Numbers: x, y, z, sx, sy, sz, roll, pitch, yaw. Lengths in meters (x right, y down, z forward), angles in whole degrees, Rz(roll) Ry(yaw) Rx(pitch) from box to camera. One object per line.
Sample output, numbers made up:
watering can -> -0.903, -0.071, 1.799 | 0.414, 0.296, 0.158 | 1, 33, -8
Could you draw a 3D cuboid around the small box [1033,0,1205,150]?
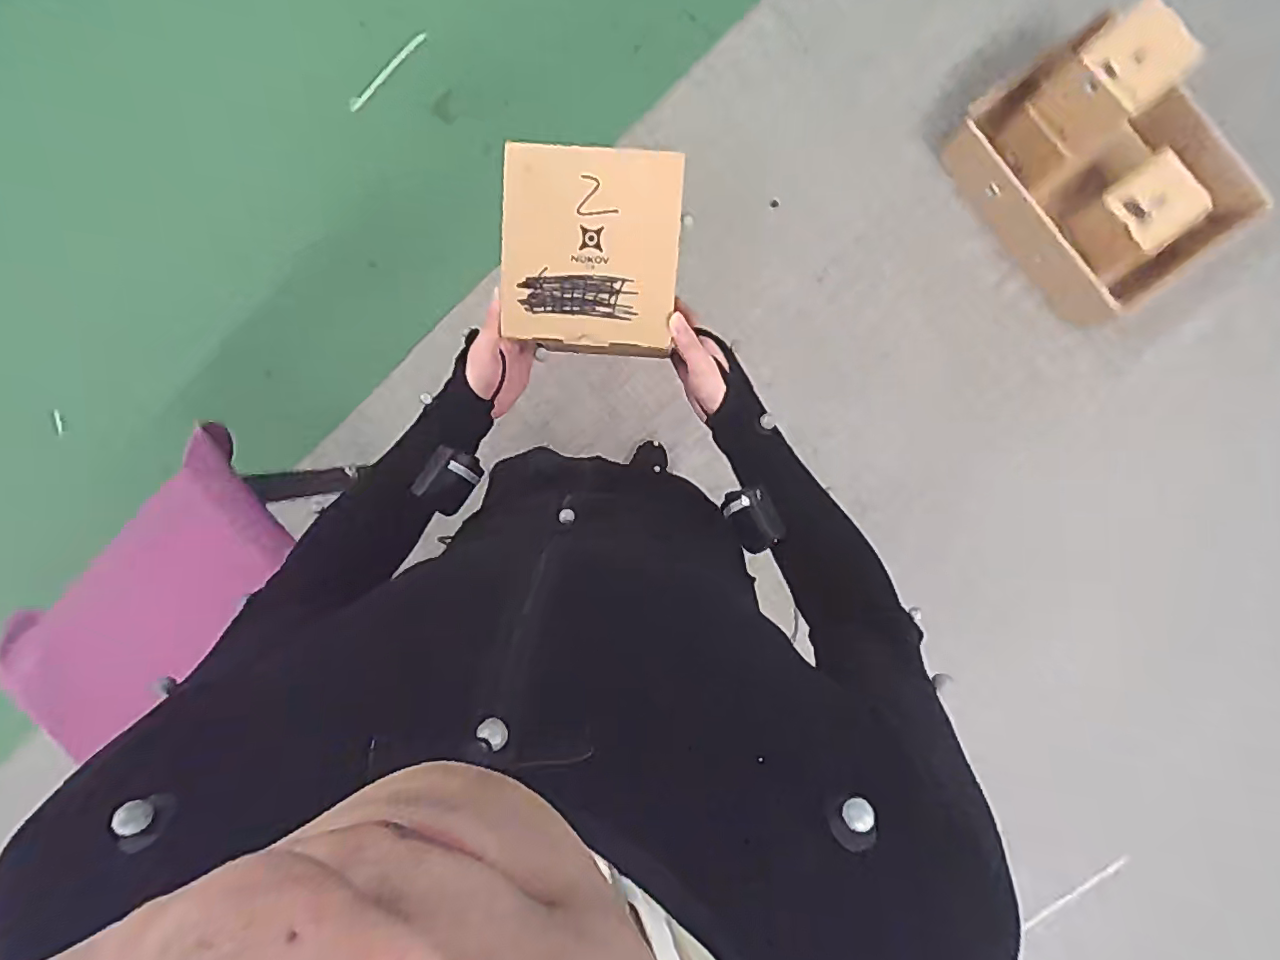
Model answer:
small box -> 0.998, -0.858, 1.146 | 0.179, 0.176, 0.168 | -41, 88, 6
